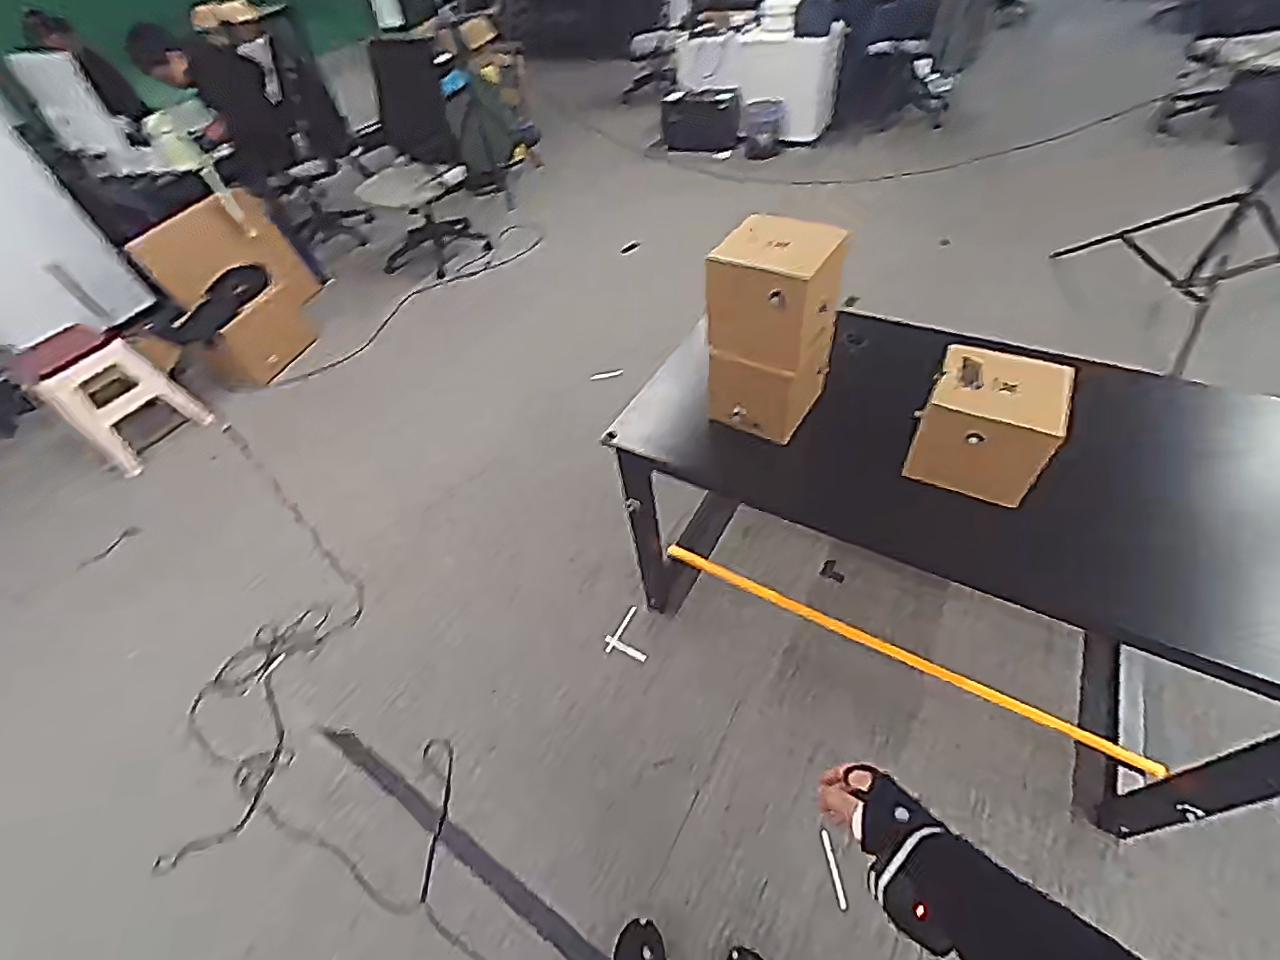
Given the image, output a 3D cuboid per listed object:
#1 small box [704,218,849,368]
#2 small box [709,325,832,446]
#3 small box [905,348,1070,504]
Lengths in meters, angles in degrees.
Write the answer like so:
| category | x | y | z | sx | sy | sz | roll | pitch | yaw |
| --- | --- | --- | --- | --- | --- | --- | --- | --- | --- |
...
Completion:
| category | x | y | z | sx | sy | sz | roll | pitch | yaw |
| --- | --- | --- | --- | --- | --- | --- | --- | --- | --- |
| small box | 0.224 | -0.312 | 0.910 | 0.179 | 0.176 | 0.168 | 23 | 56 | 26 |
| small box | 0.243 | -0.198 | 1.029 | 0.168 | 0.176 | 0.179 | 23 | 57 | 26 |
| small box | 0.559 | -0.086 | 0.886 | 0.179 | 0.176 | 0.168 | 21 | 55 | 23 |
